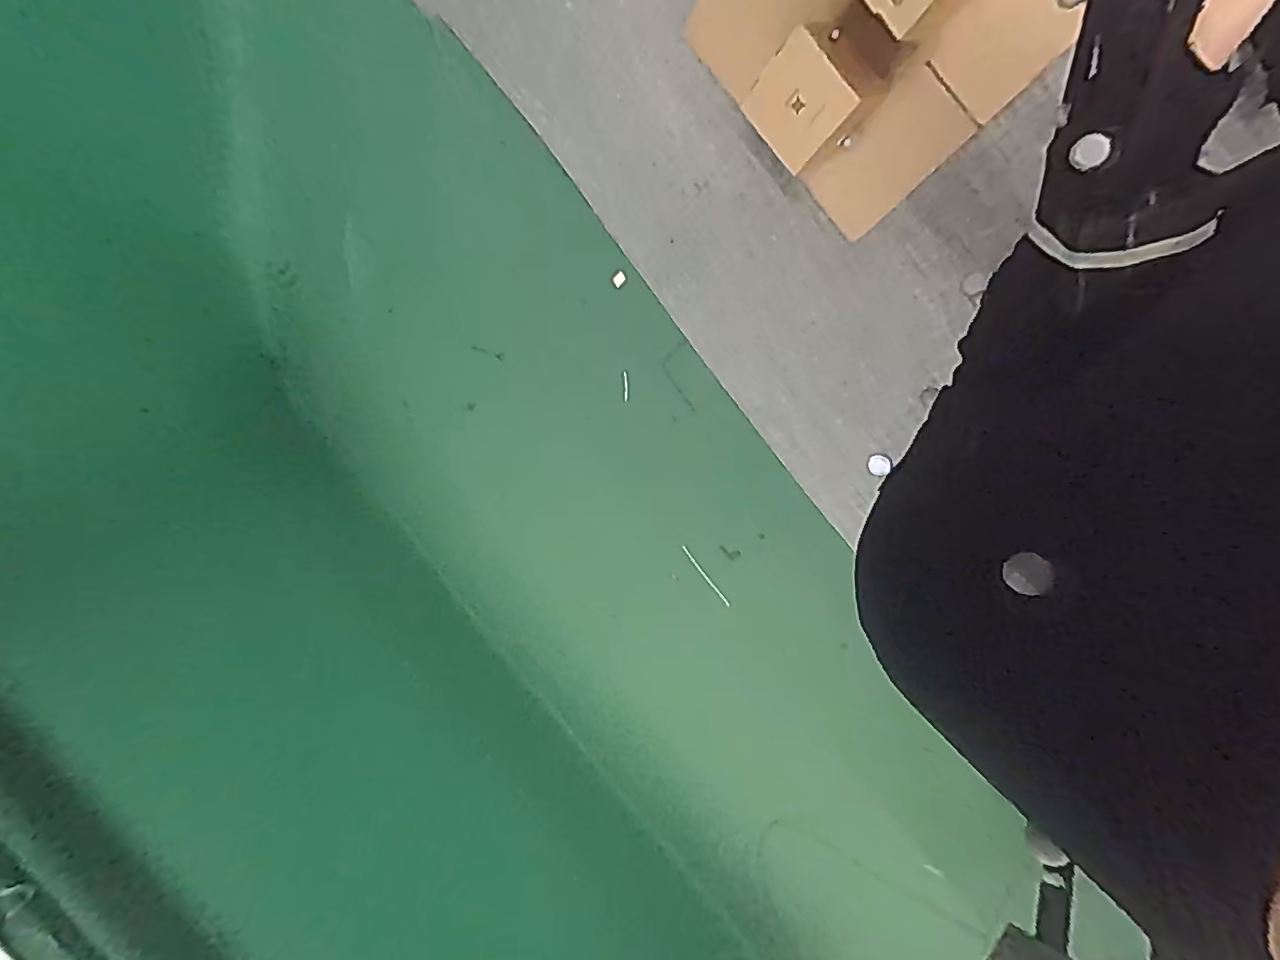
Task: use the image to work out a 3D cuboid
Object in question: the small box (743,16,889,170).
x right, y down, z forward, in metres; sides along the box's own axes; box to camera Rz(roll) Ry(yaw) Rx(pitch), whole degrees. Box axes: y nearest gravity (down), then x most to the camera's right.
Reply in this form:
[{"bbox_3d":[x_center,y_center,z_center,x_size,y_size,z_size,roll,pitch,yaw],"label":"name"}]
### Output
[{"bbox_3d":[0.340,-0.740,1.039,0.179,0.176,0.168,49,143,-2],"label":"small box"}]
